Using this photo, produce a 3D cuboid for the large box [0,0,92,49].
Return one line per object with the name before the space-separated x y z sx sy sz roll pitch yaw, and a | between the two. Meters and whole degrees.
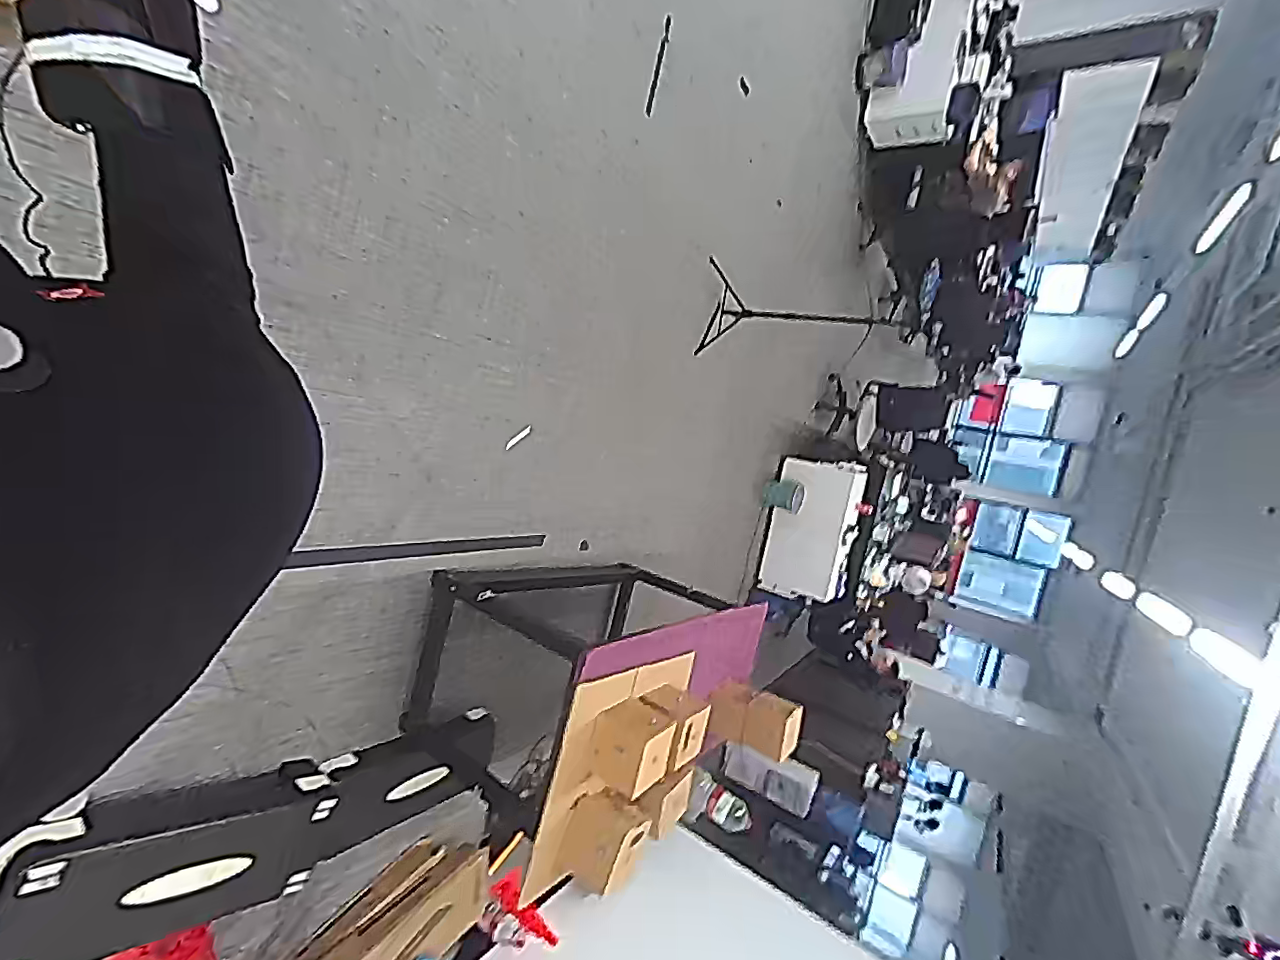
large box | -0.564 -0.419 0.203 0.408 0.320 0.320 -24 131 -53
